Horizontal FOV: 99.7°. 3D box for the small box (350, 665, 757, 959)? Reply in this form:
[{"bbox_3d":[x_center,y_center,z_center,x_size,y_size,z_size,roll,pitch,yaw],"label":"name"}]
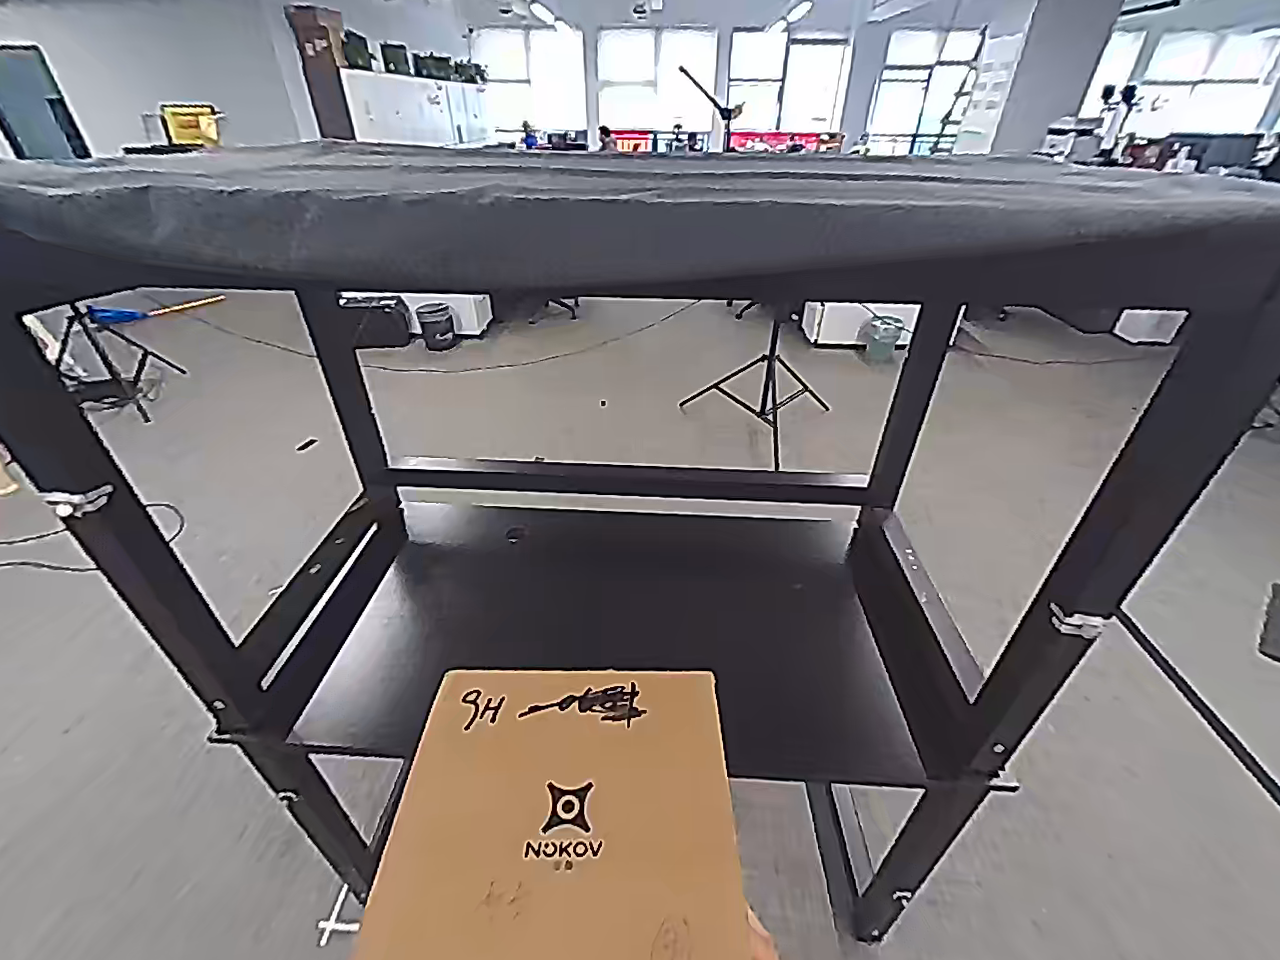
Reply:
[{"bbox_3d":[-0.036,0.227,0.300,0.168,0.176,0.179,1,37,-2],"label":"small box"}]
